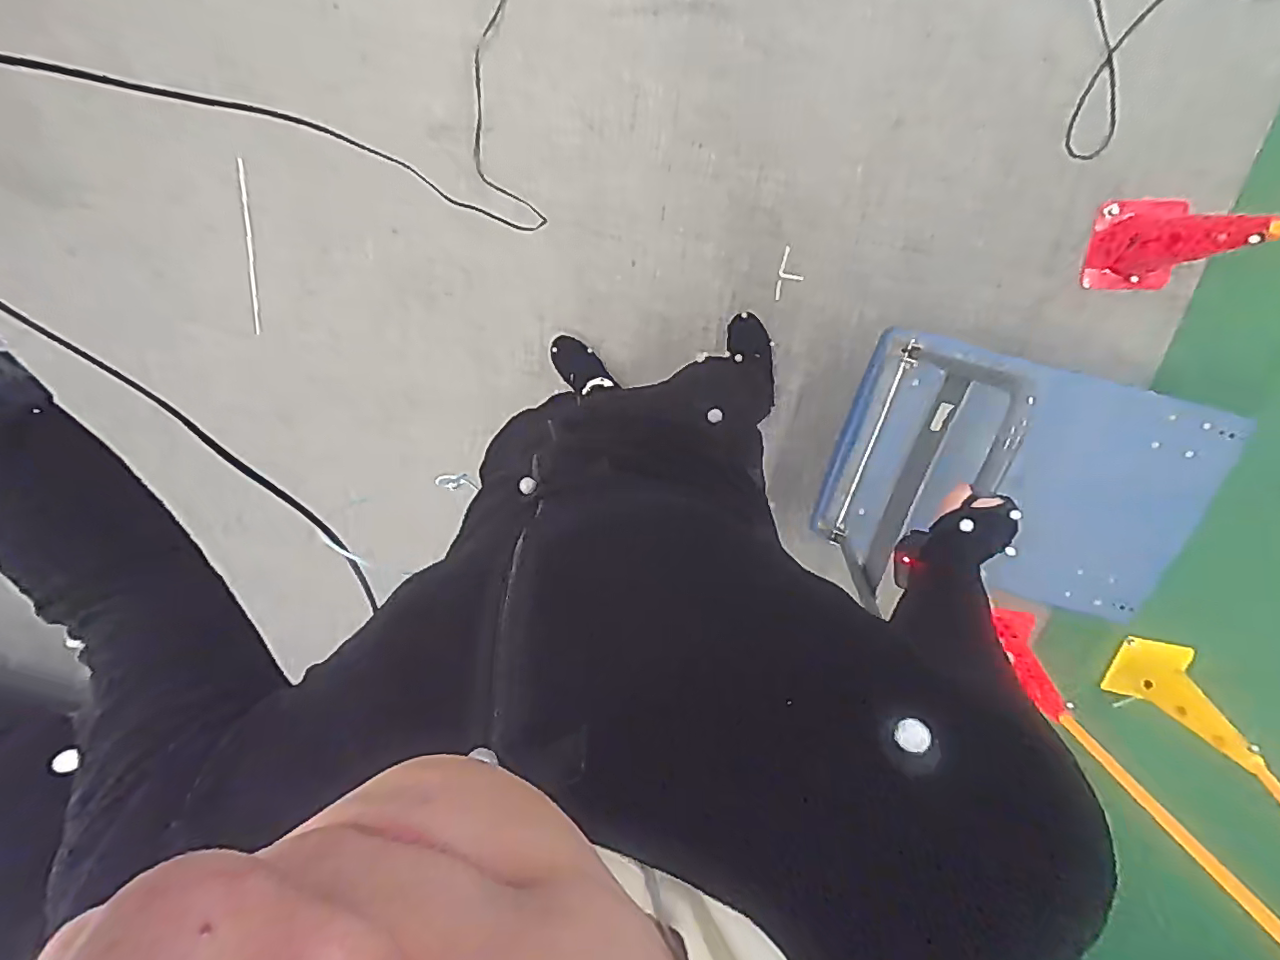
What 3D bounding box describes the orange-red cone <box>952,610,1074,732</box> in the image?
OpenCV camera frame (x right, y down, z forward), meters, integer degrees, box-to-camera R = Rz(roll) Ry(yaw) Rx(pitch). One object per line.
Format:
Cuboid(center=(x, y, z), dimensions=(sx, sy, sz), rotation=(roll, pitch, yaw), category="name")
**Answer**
Cuboid(center=(1.064, 0.547, 1.491), dimensions=(0.199, 0.360, 0.198), rotation=(10, 110, 2), category="orange-red cone")
